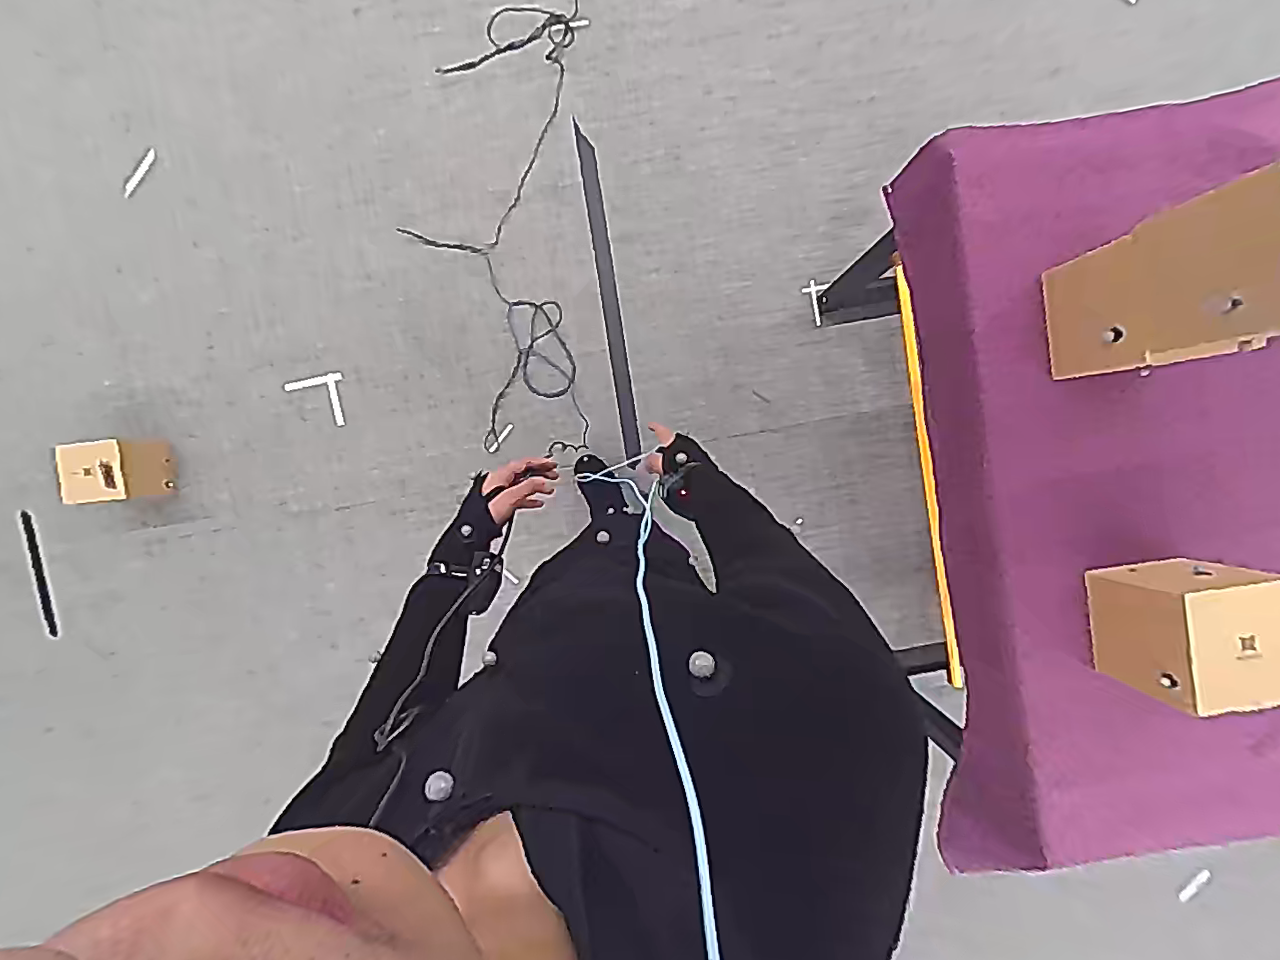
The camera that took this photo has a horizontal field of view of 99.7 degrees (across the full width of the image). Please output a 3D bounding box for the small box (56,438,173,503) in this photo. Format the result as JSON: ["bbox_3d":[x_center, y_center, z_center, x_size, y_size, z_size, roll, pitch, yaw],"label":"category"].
[{"bbox_3d":[-1.483,-0.031,1.541,0.179,0.176,0.168,-6,92,1],"label":"small box"}]

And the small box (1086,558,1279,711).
[{"bbox_3d":[0.827,0.220,0.822,0.168,0.176,0.179,-8,93,0],"label":"small box"}]

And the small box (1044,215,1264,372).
[{"bbox_3d":[0.742,-0.260,0.798,0.168,0.176,0.179,-7,93,0],"label":"small box"}]
